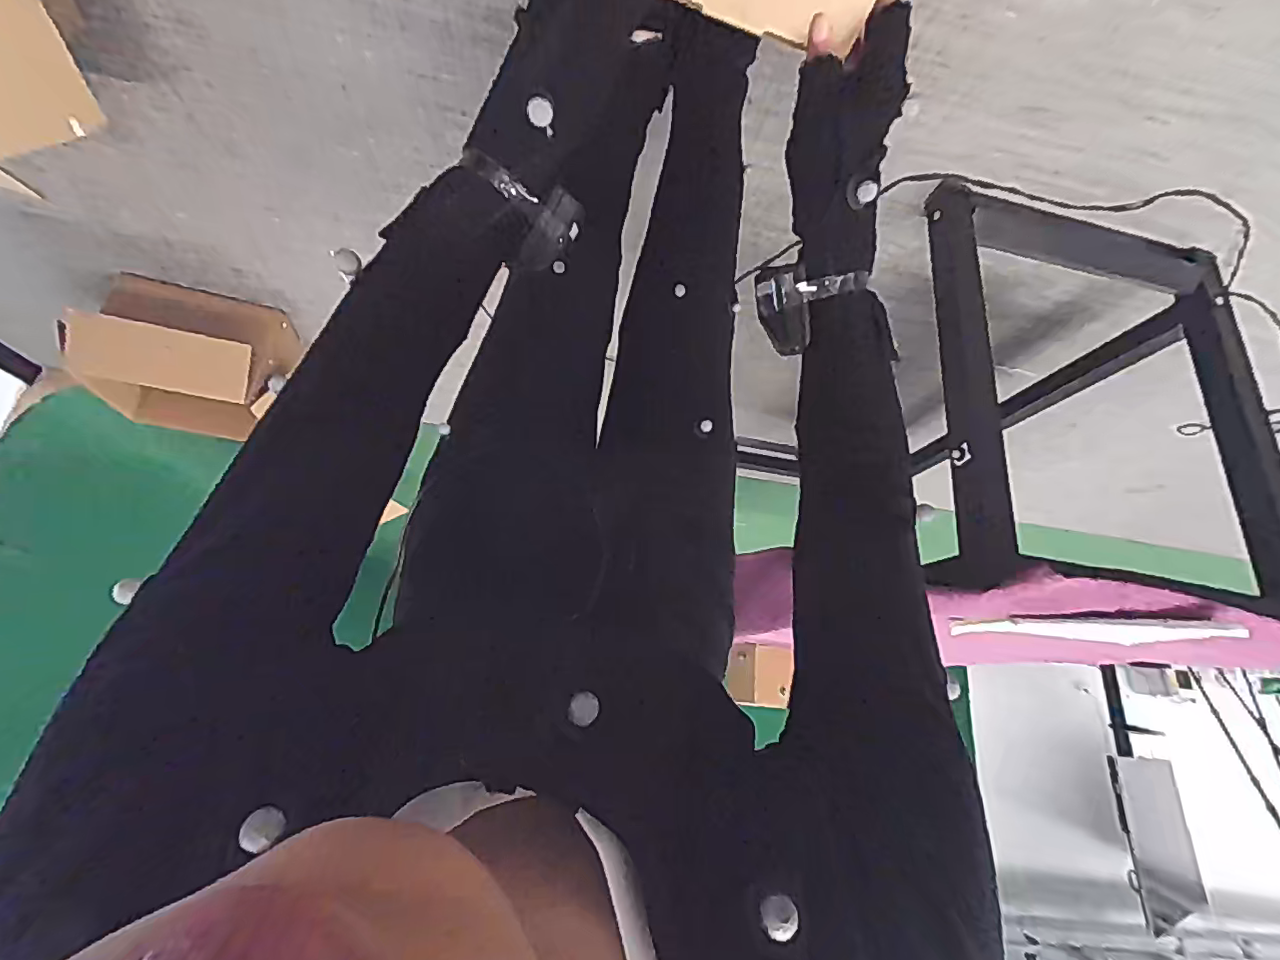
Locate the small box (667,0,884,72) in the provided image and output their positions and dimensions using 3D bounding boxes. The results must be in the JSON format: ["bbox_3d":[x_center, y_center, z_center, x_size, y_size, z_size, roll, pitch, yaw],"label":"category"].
[{"bbox_3d":[0.092,-0.409,0.333,0.168,0.176,0.179,11,145,-12],"label":"small box"}]
